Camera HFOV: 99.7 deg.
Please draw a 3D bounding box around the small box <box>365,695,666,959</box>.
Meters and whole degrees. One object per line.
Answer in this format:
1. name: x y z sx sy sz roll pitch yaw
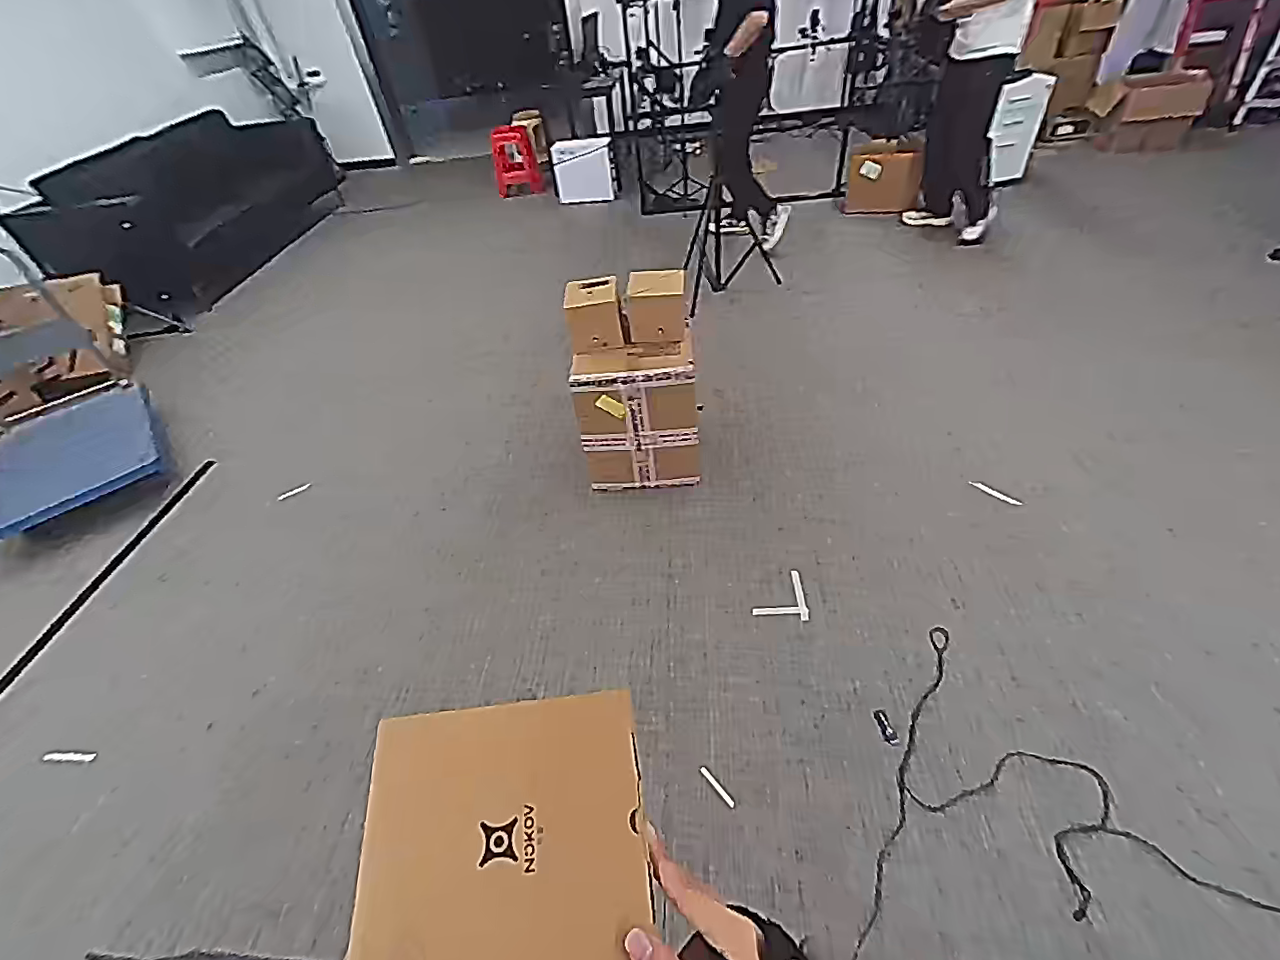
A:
1. small box: -0.080 0.279 0.410 0.179 0.176 0.168 -5 54 -6
